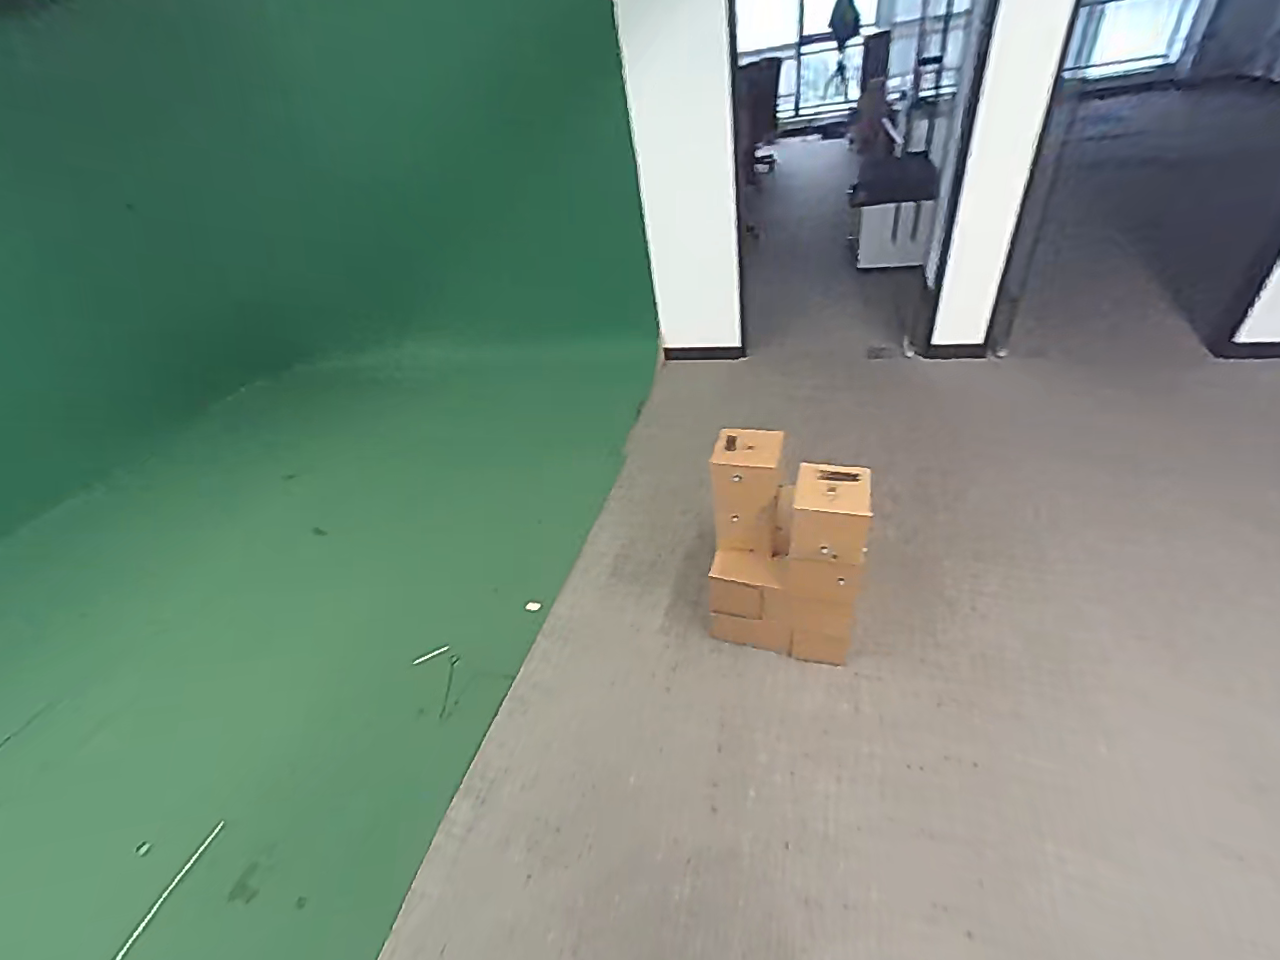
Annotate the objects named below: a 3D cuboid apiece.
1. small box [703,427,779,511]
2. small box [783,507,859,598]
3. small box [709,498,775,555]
[{"bbox_3d":[0.286,-0.031,1.502,0.179,0.176,0.168,4,40,20],"label":"small box"},{"bbox_3d":[0.480,0.195,1.442,0.179,0.176,0.168,4,40,18],"label":"small box"},{"bbox_3d":[0.307,0.095,1.608,0.168,0.176,0.179,5,40,20],"label":"small box"}]
